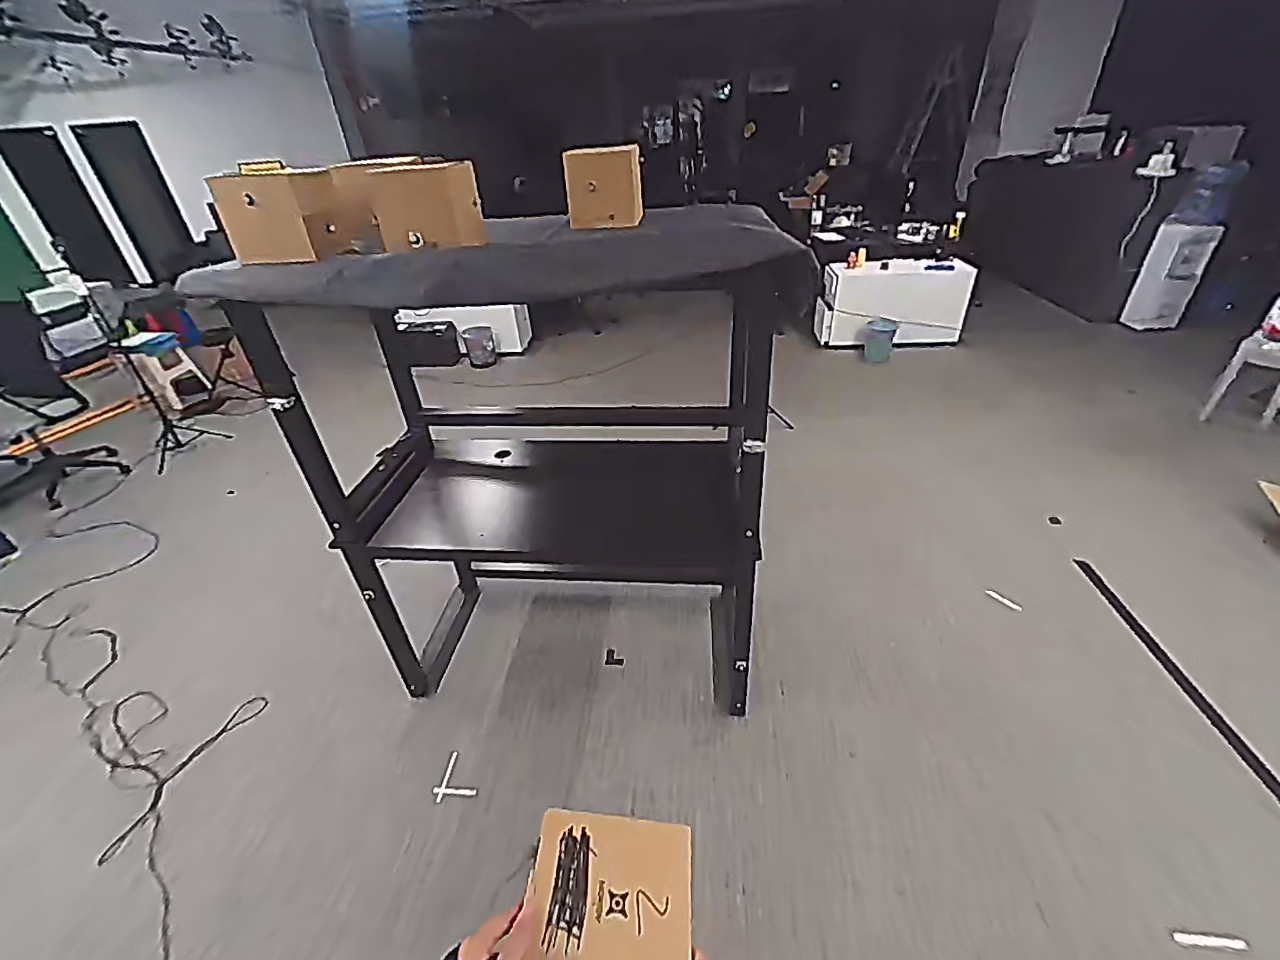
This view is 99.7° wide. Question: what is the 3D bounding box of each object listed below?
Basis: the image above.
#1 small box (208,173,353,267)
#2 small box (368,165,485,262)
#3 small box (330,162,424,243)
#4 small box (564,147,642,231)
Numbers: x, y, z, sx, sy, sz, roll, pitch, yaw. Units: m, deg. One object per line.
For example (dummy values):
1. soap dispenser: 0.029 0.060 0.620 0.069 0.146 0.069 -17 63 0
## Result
1. small box: -0.770 -0.568 1.181 0.179 0.176 0.168 -1 33 3
2. small box: -0.440 -0.566 1.149 0.168 0.176 0.179 -3 32 3
3. small box: -0.659 -0.725 1.412 0.179 0.176 0.168 0 34 4
4. small box: -0.084 -0.728 1.361 0.168 0.176 0.179 0 34 6
